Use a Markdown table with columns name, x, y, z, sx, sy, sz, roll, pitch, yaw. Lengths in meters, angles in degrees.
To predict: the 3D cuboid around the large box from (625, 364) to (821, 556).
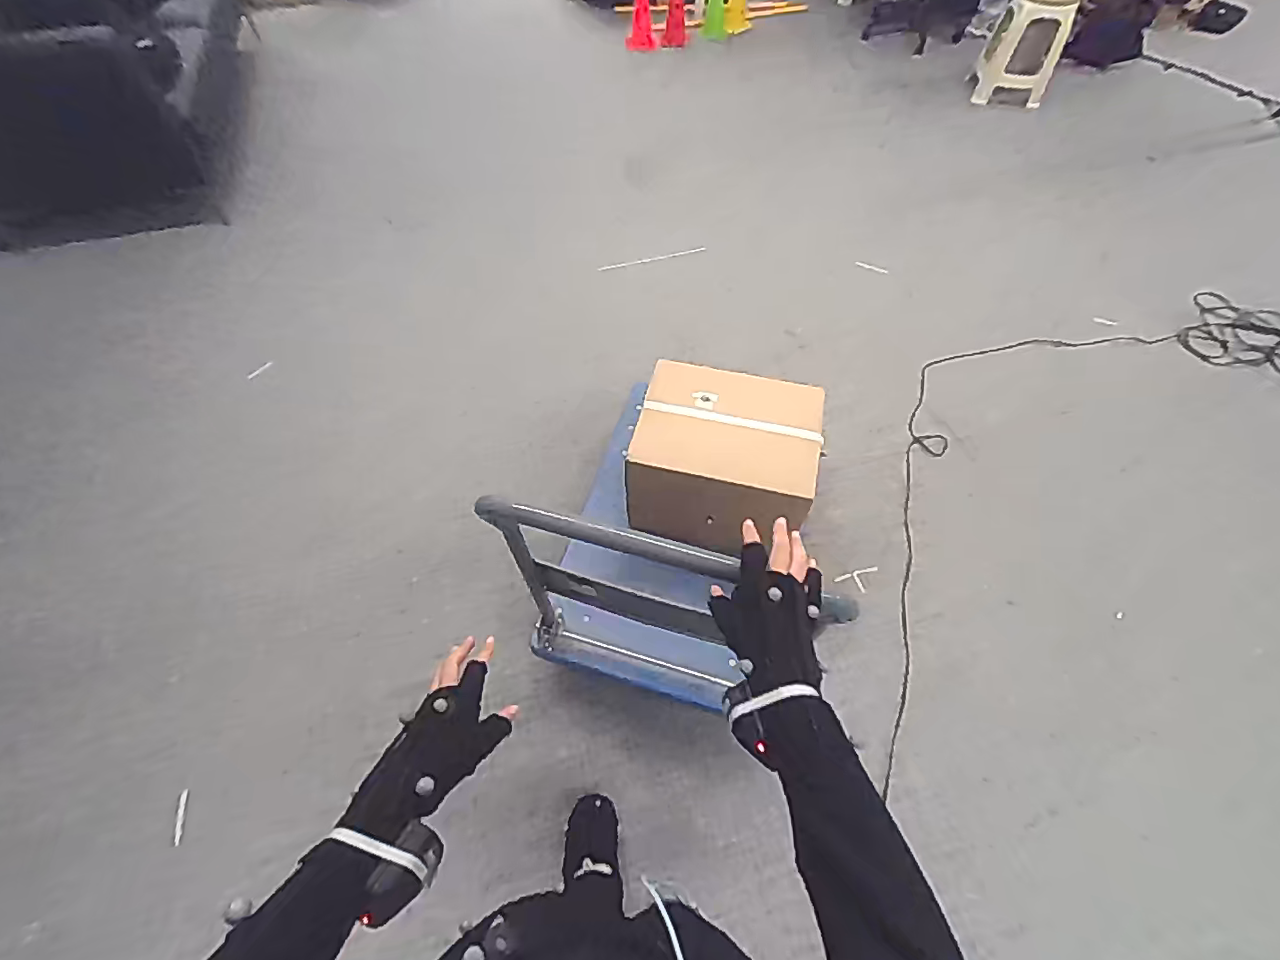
| name | x | y | z | sx | sy | sz | roll | pitch | yaw |
| --- | --- | --- | --- | --- | --- | --- | --- | --- | --- |
| large box | 0.202 | -0.043 | 1.339 | 0.408 | 0.320 | 0.320 | 12 | 58 | 10 |
